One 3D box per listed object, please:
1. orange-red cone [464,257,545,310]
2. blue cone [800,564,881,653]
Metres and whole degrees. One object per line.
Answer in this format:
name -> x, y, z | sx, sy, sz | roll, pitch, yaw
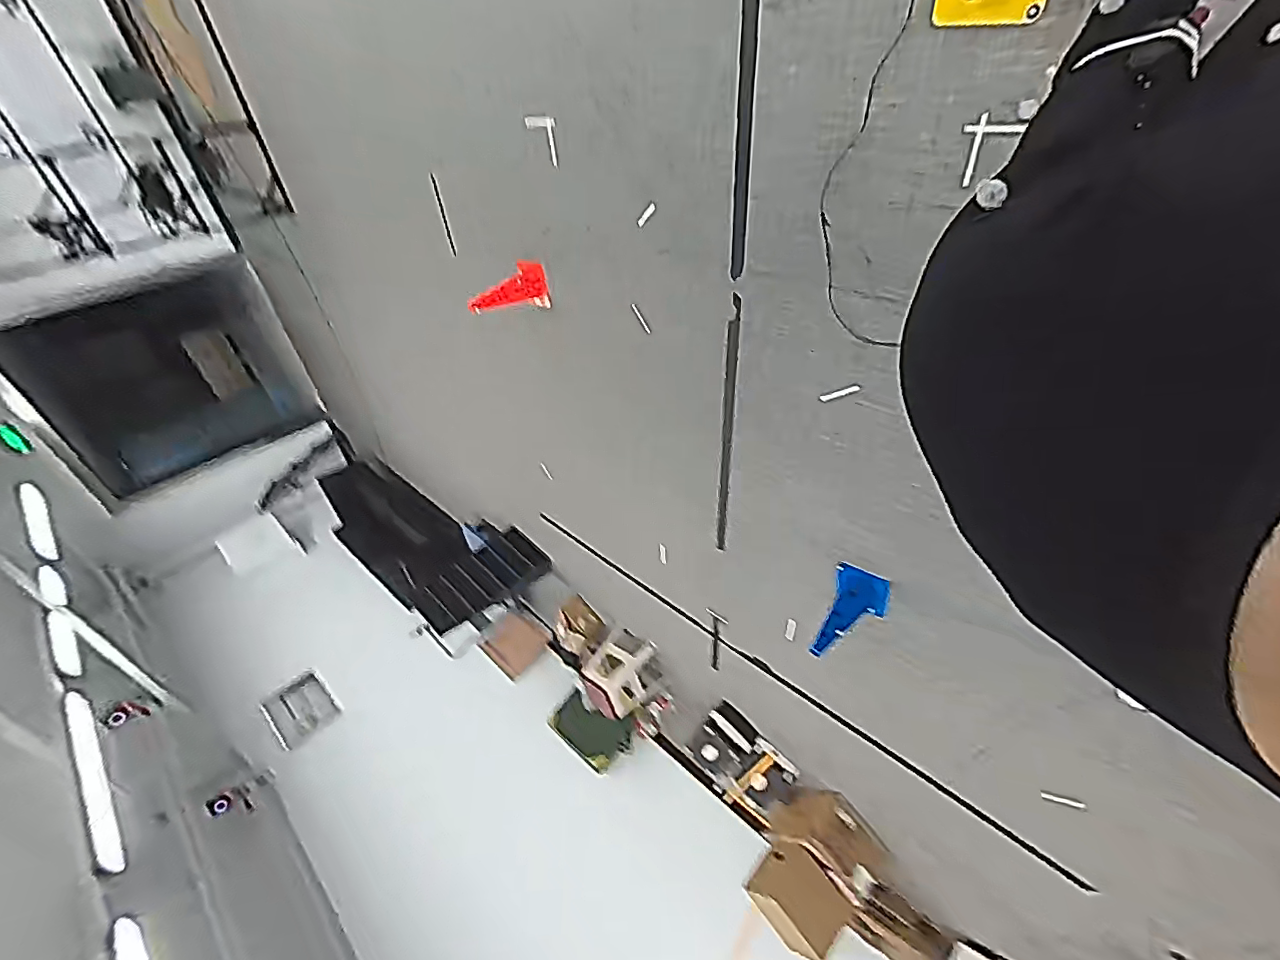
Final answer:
orange-red cone -> -0.634, -0.845, 2.442 | 0.198, 0.360, 0.199 | 26, 140, 38
blue cone -> 0.710, 0.501, 1.978 | 0.192, 0.380, 0.193 | 25, 138, 38
